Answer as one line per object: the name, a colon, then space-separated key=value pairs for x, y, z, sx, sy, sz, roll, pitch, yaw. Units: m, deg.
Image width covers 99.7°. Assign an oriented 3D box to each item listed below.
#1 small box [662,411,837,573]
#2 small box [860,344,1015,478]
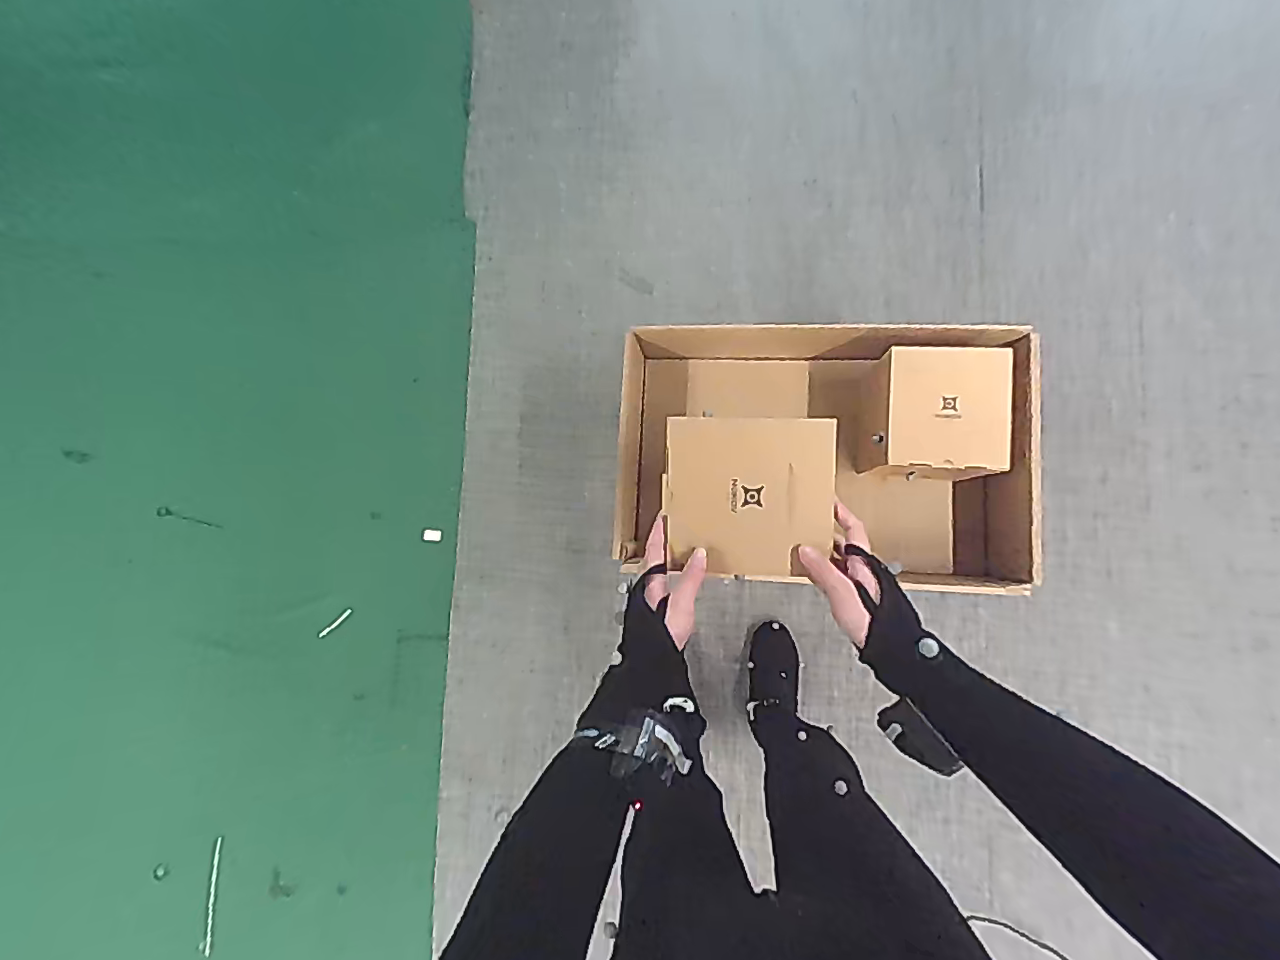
small box: x=0.122 y=0.010 z=0.643 sx=0.179 sy=0.176 sz=0.168 roll=2 pitch=92 yaw=6
small box: x=0.452 y=-0.100 z=0.845 sx=0.168 sy=0.176 sz=0.179 roll=4 pitch=87 yaw=8
